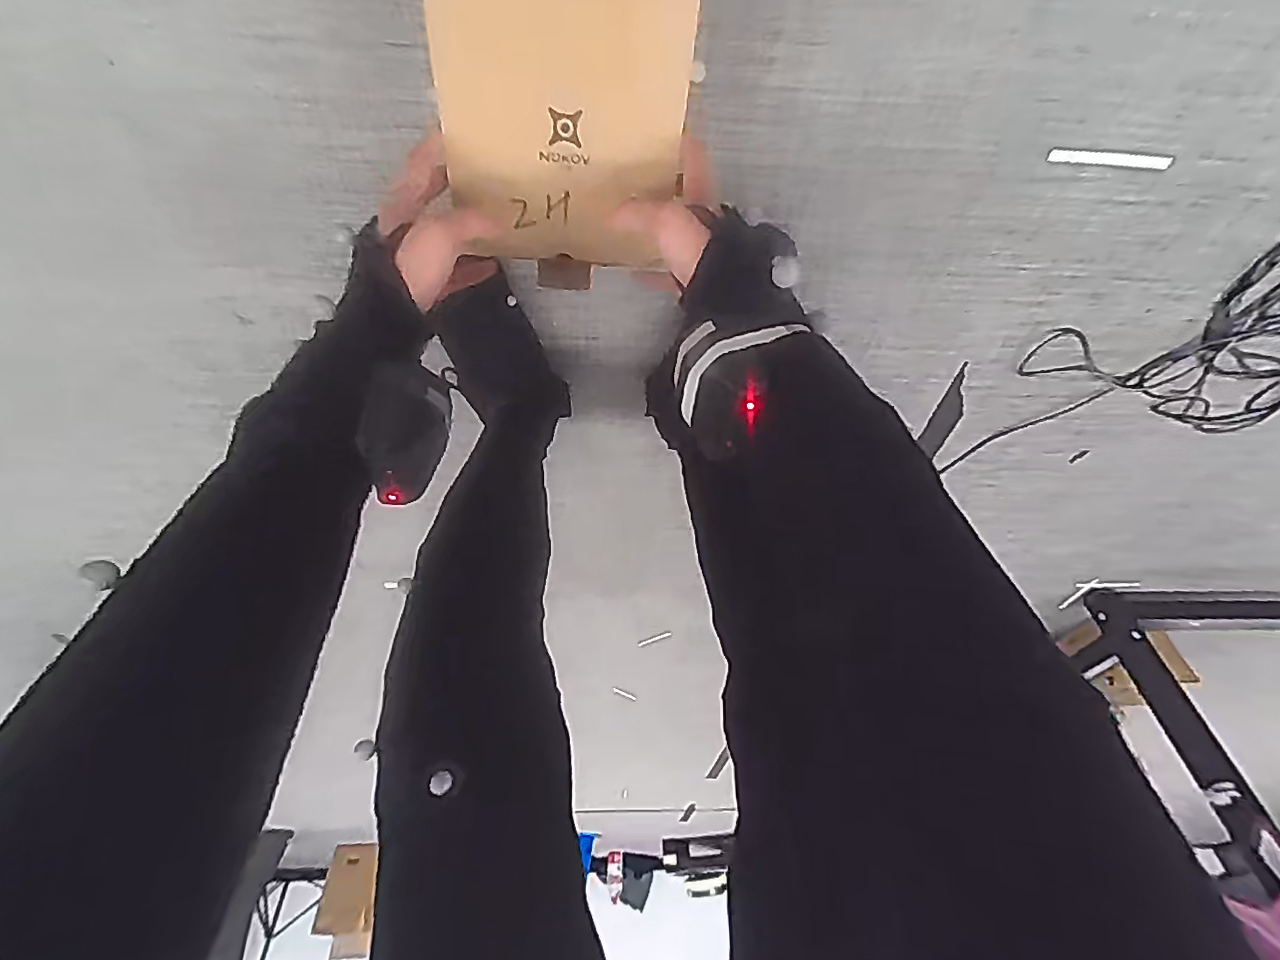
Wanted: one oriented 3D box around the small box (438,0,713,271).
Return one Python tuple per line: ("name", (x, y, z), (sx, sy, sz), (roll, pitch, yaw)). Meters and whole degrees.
("small box", (-0.051, -0.291, 0.426), (0.168, 0.176, 0.179), (2, 137, -7))
